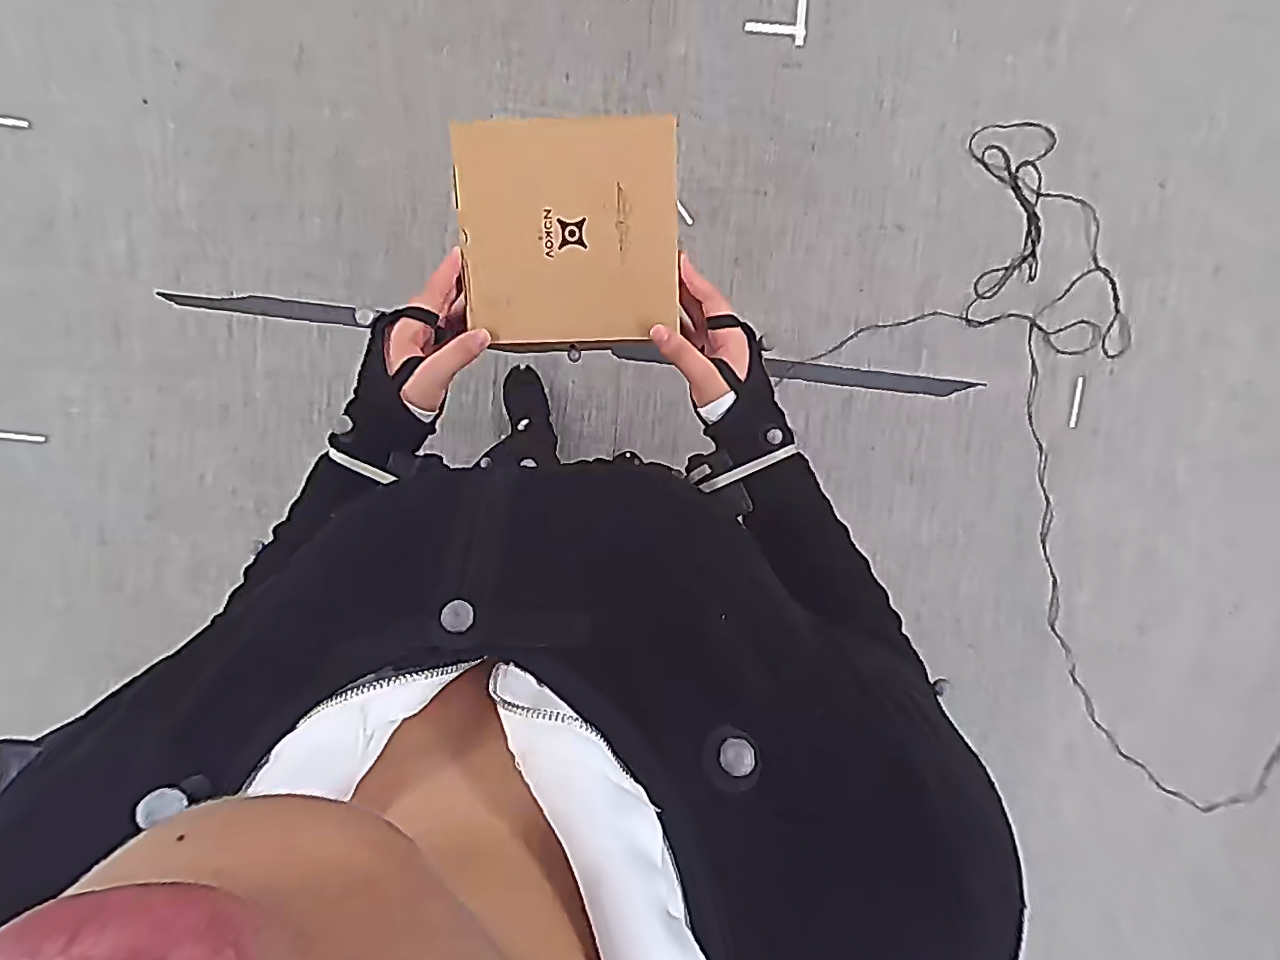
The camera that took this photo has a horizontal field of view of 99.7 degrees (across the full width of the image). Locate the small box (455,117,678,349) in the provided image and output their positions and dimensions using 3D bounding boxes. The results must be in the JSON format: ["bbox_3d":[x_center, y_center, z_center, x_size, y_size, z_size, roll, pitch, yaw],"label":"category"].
[{"bbox_3d":[-0.056,-0.214,0.514,0.179,0.176,0.168,-2,101,0],"label":"small box"}]
